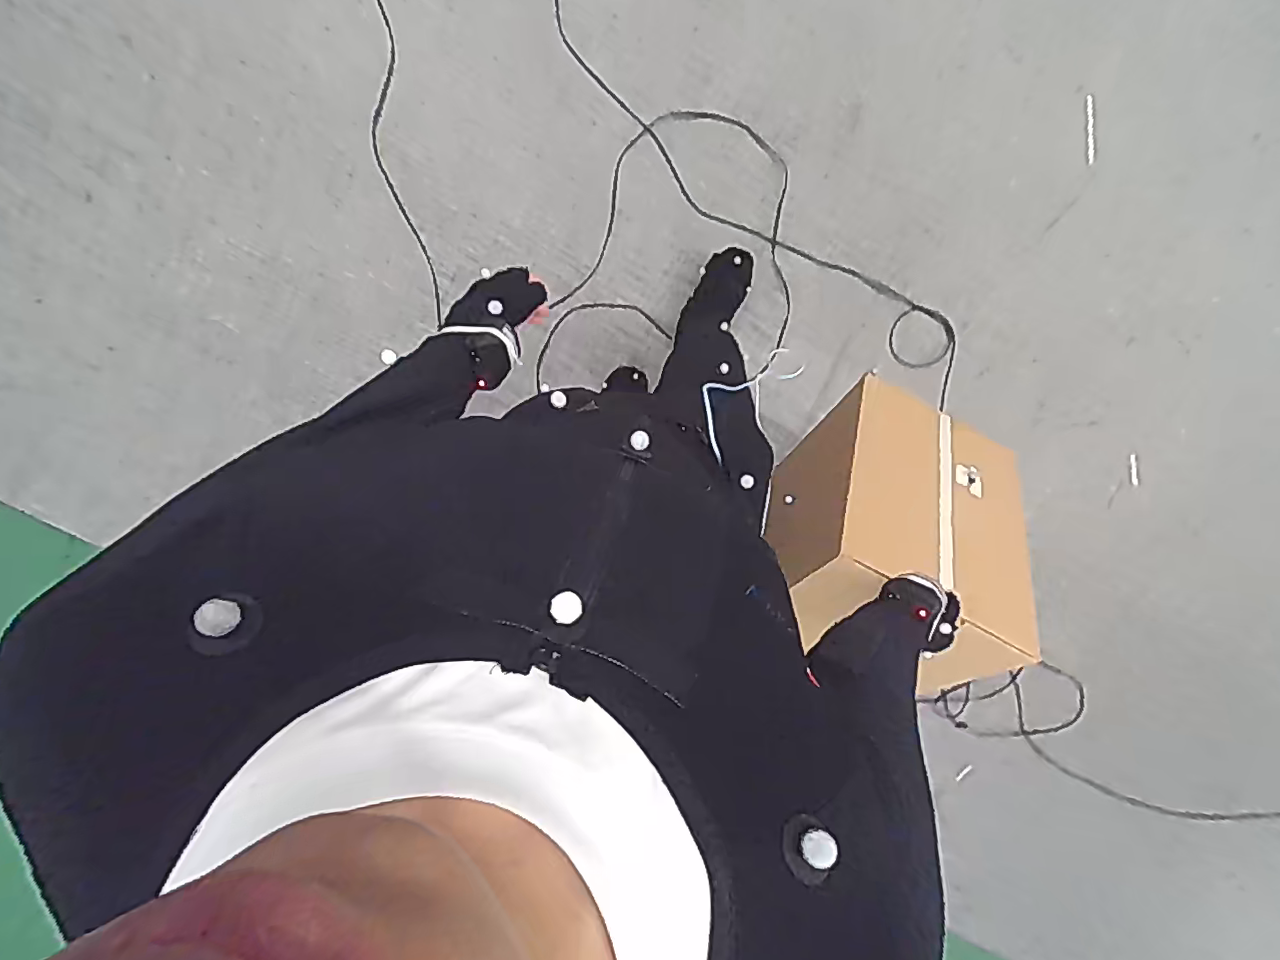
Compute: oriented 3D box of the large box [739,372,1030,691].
[{"bbox_3d":[0.413,0.096,0.966,0.320,0.408,0.320,29,141,-4],"label":"large box"}]
